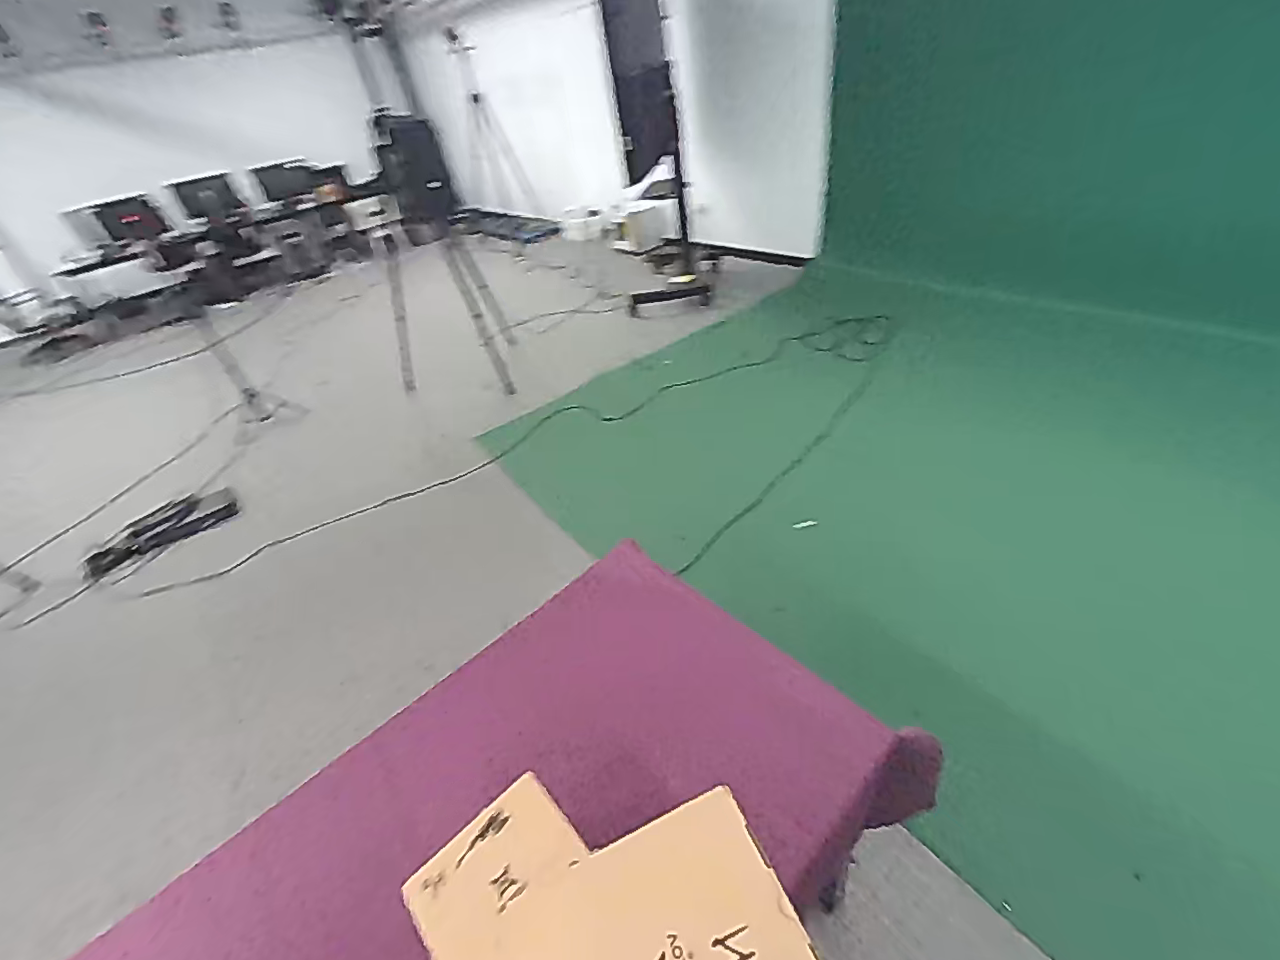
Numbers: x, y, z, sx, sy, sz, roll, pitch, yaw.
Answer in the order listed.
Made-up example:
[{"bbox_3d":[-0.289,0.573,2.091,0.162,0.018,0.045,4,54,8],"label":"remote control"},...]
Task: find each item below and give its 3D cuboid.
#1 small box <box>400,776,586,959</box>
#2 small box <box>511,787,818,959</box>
[{"bbox_3d":[-0.126,0.485,0.602,0.168,0.176,0.179,-35,44,-27],"label":"small box"},{"bbox_3d":[0.031,0.365,0.378,0.179,0.176,0.168,-20,39,-12],"label":"small box"}]
